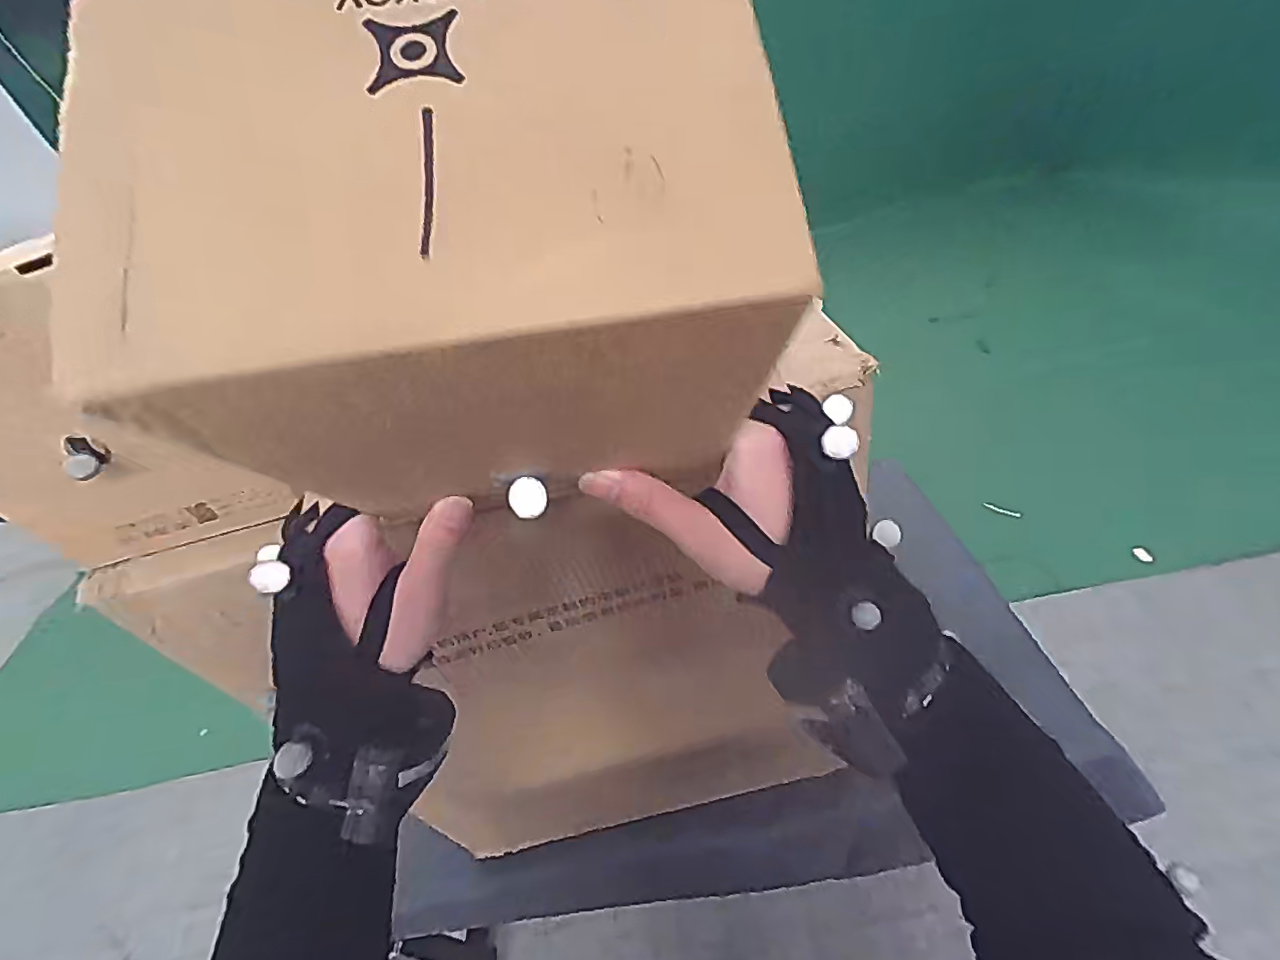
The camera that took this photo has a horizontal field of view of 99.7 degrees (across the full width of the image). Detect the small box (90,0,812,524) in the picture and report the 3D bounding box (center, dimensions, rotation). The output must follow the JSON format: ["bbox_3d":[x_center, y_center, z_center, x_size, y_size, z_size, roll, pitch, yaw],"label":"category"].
[{"bbox_3d":[-0.053,-0.090,0.221,0.168,0.176,0.179,-9,77,-3],"label":"small box"}]

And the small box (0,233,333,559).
[{"bbox_3d":[-0.316,-0.066,0.367,0.168,0.176,0.179,-15,41,3],"label":"small box"}]
